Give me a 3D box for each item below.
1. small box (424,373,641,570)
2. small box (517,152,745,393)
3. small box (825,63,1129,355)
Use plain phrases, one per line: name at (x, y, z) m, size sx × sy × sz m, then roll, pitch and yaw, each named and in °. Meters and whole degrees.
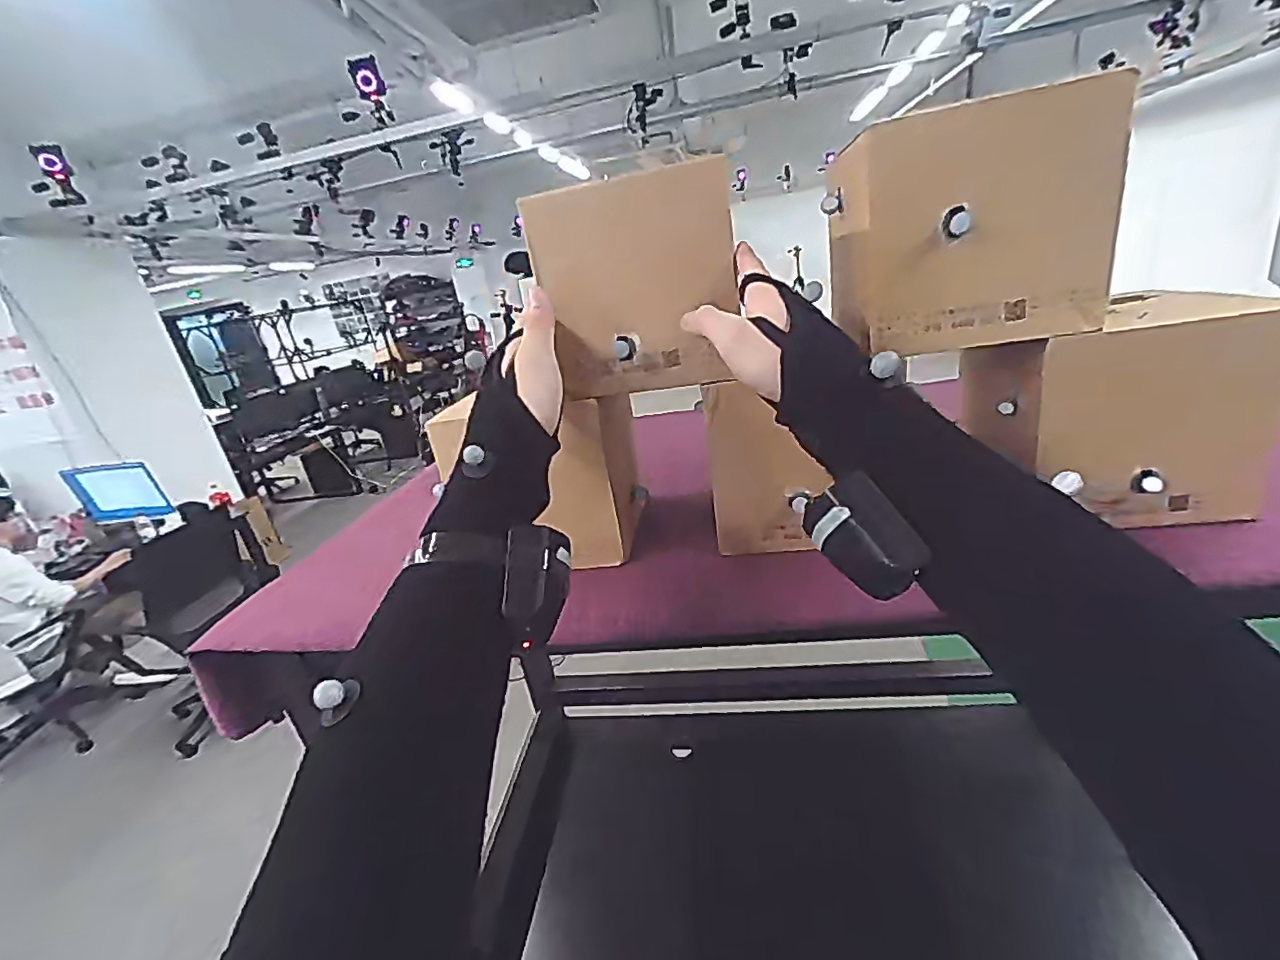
small box at (-0.098, -0.019, 0.585) m, size 0.168 × 0.176 × 0.179 m, roll -6°, pitch 19°, yaw 10°
small box at (0.007, -0.185, 0.511) m, size 0.168 × 0.176 × 0.179 m, roll -6°, pitch 21°, yaw 12°
small box at (0.259, -0.207, 0.459) m, size 0.168 × 0.176 × 0.179 m, roll -6°, pitch 20°, yaw 12°
